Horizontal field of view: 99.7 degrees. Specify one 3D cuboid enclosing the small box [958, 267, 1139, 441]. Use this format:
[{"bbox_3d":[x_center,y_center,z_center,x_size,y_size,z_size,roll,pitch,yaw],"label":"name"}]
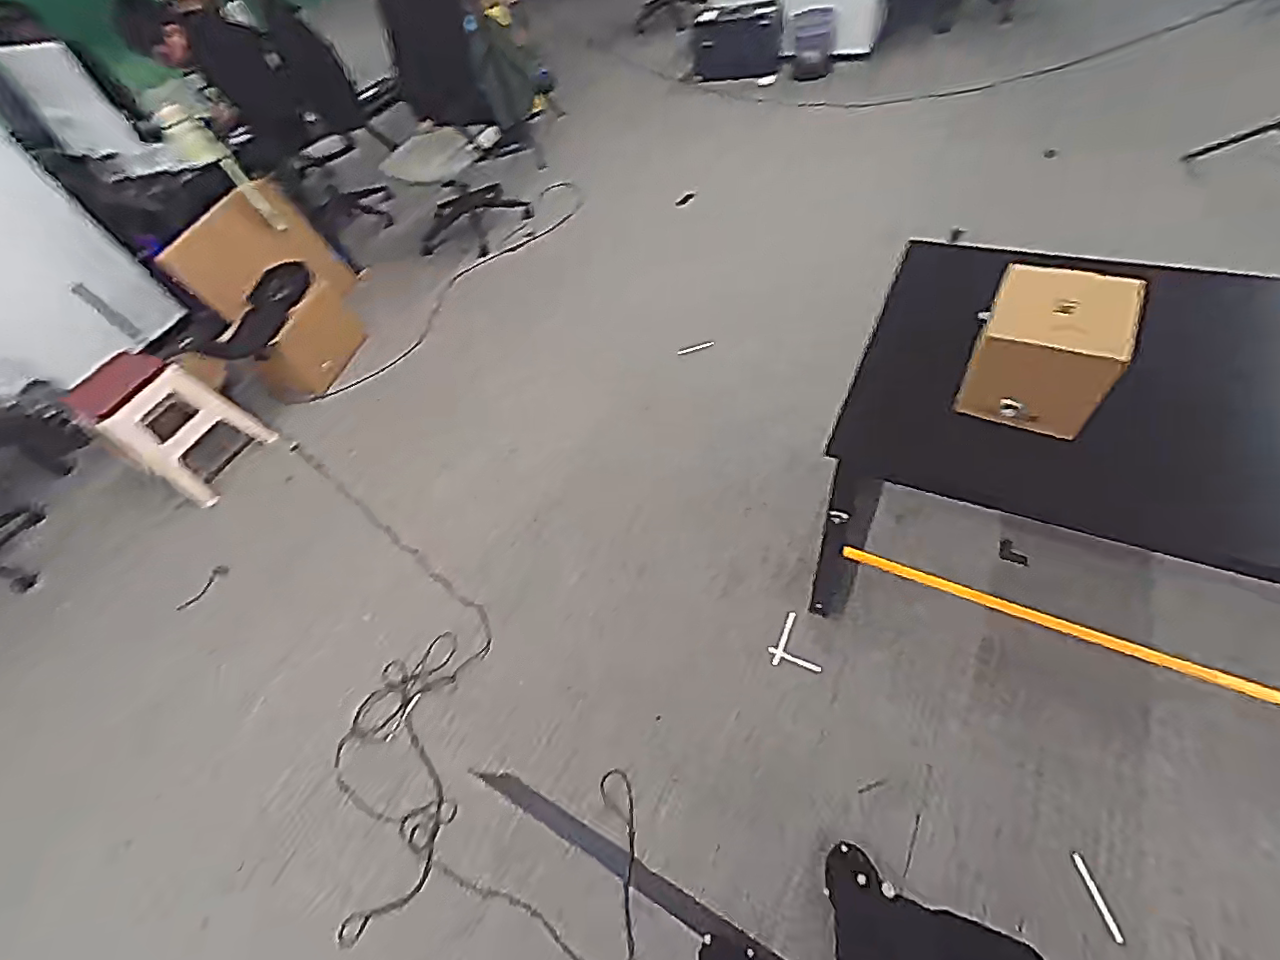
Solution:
[{"bbox_3d":[0.612,-0.192,0.828,0.168,0.176,0.179,20,62,25],"label":"small box"}]
